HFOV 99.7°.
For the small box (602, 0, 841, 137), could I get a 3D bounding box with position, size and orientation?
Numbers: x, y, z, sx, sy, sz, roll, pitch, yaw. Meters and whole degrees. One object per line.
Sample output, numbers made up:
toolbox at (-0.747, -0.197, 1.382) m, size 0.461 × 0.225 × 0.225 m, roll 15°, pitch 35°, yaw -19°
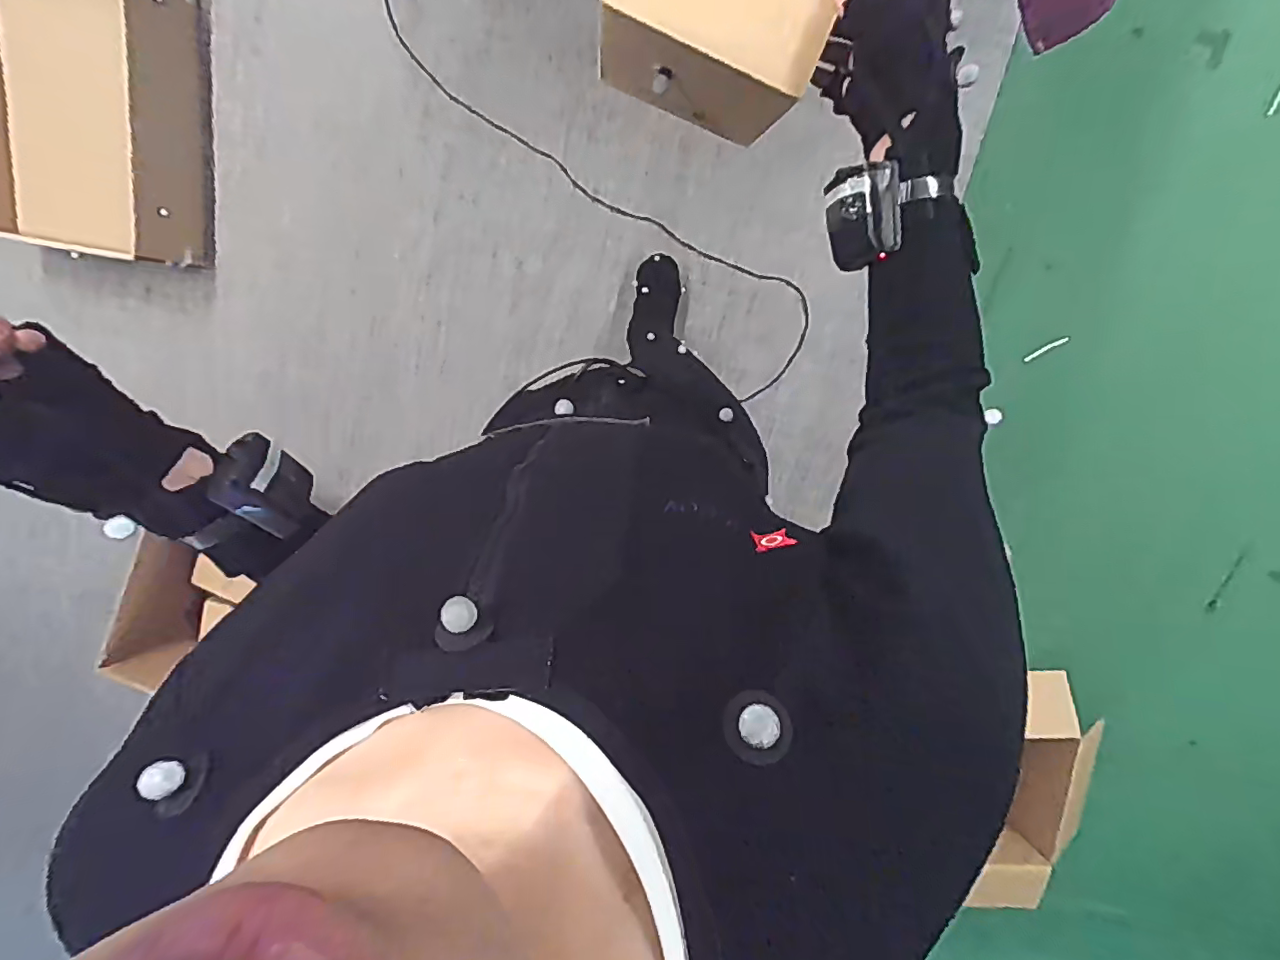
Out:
small box at (0.074, -0.420, 0.445) m, size 0.168 × 0.176 × 0.179 m, roll 18°, pitch 107°, yaw -10°
